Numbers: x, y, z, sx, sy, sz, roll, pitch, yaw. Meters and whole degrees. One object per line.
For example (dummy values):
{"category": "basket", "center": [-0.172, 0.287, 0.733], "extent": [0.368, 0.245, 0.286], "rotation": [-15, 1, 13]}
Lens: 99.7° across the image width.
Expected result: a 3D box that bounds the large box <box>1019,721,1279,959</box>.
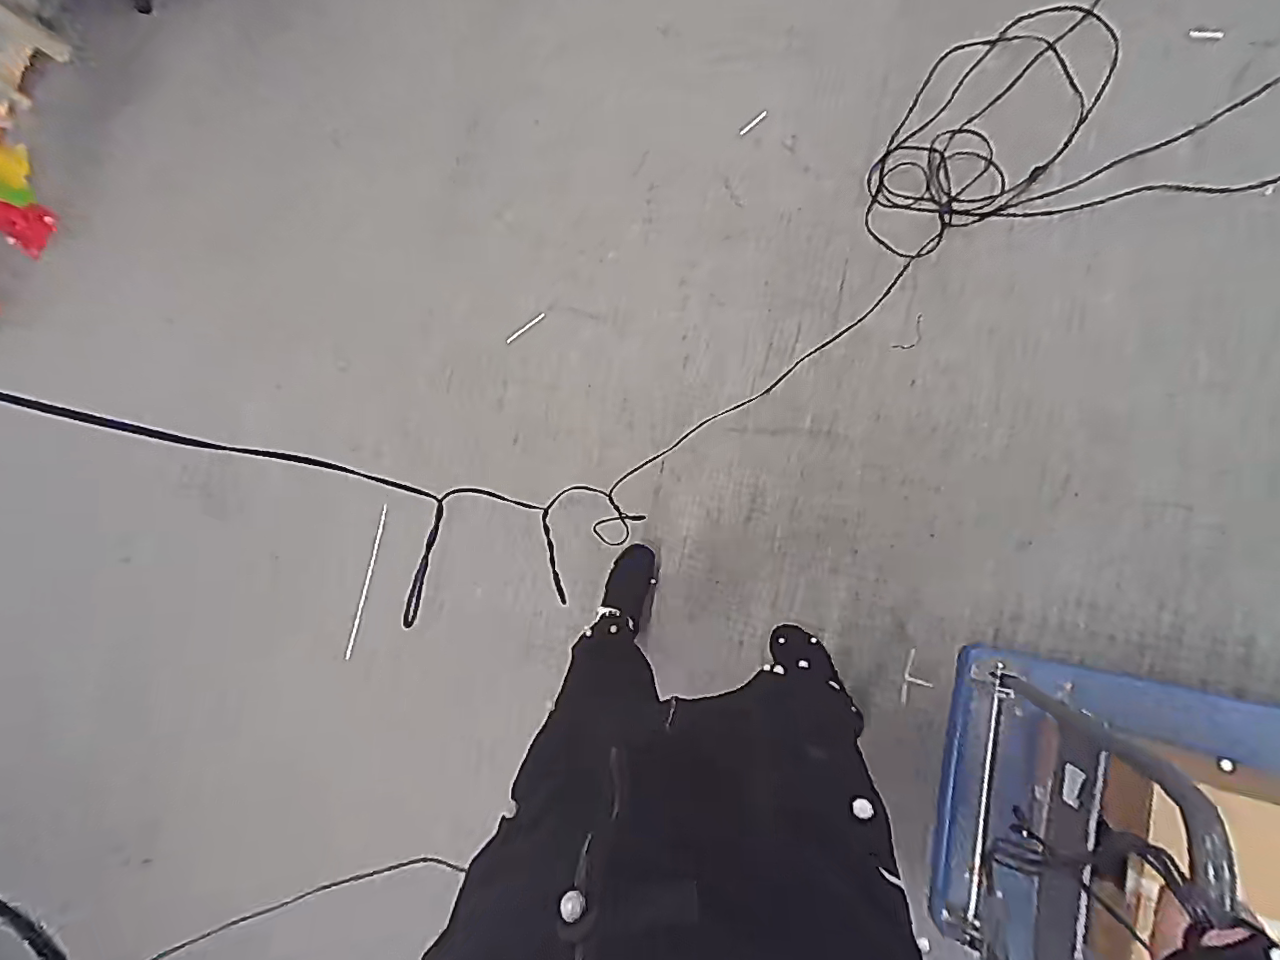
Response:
{"category": "large box", "center": [0.920, 0.636, 0.878], "extent": [0.408, 0.320, 0.320], "rotation": [12, 85, 13]}
